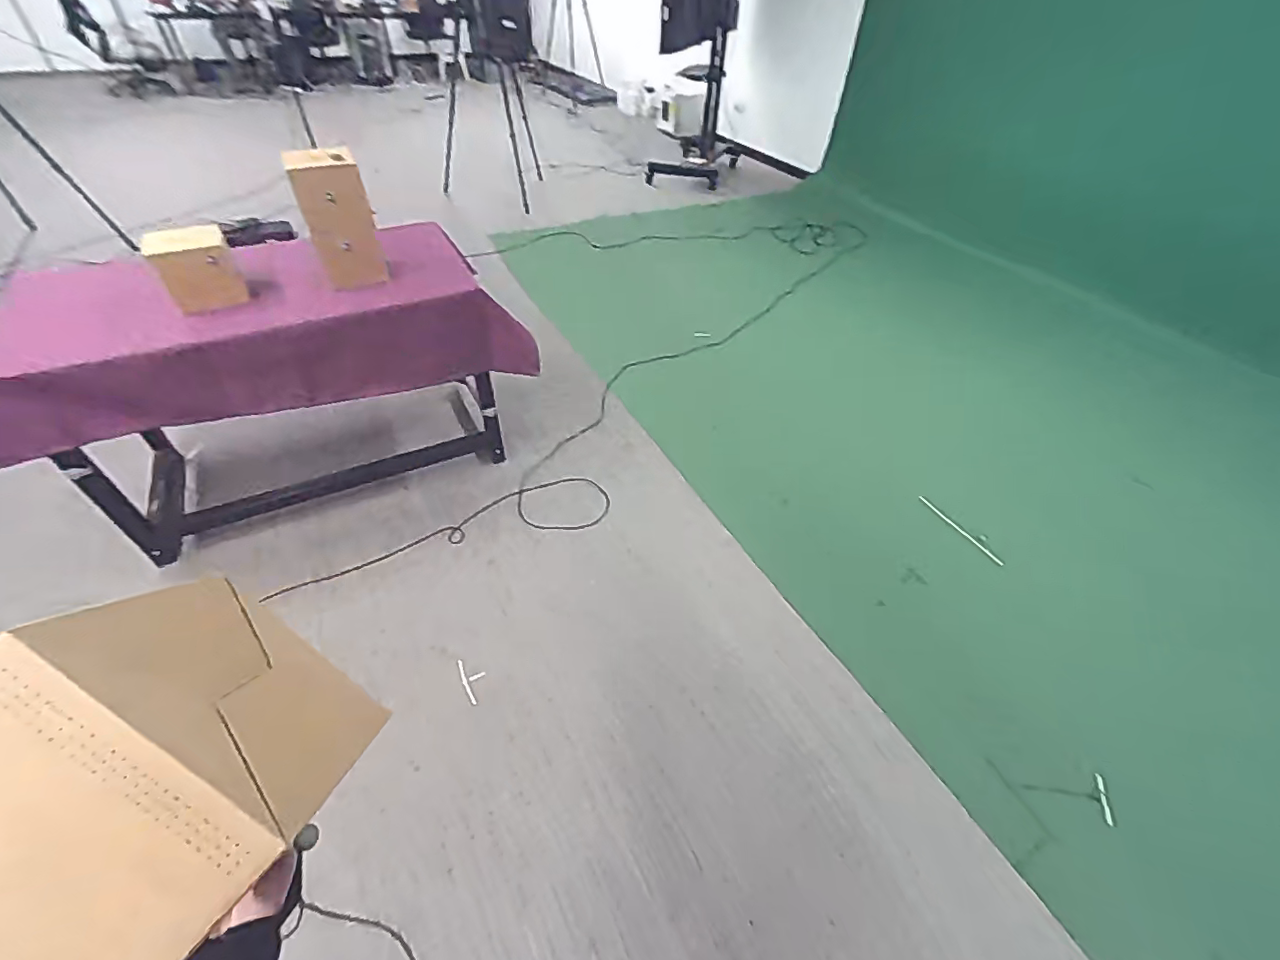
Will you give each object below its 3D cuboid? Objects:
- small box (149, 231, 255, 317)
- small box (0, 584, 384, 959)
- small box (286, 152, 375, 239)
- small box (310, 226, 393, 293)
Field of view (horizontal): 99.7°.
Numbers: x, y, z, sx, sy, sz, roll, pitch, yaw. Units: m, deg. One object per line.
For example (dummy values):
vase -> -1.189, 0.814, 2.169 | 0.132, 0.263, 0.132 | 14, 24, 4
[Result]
small box -> -1.221, -0.575, 1.513 | 0.179, 0.176, 0.168 | -22, 50, -24
small box -> -0.310, 0.192, 0.350 | 0.179, 0.168, 0.176 | 42, 85, -5
small box -> -0.866, -0.802, 1.526 | 0.179, 0.176, 0.168 | -19, 50, -20
small box -> -0.876, -0.686, 1.641 | 0.179, 0.176, 0.168 | -18, 49, -21
